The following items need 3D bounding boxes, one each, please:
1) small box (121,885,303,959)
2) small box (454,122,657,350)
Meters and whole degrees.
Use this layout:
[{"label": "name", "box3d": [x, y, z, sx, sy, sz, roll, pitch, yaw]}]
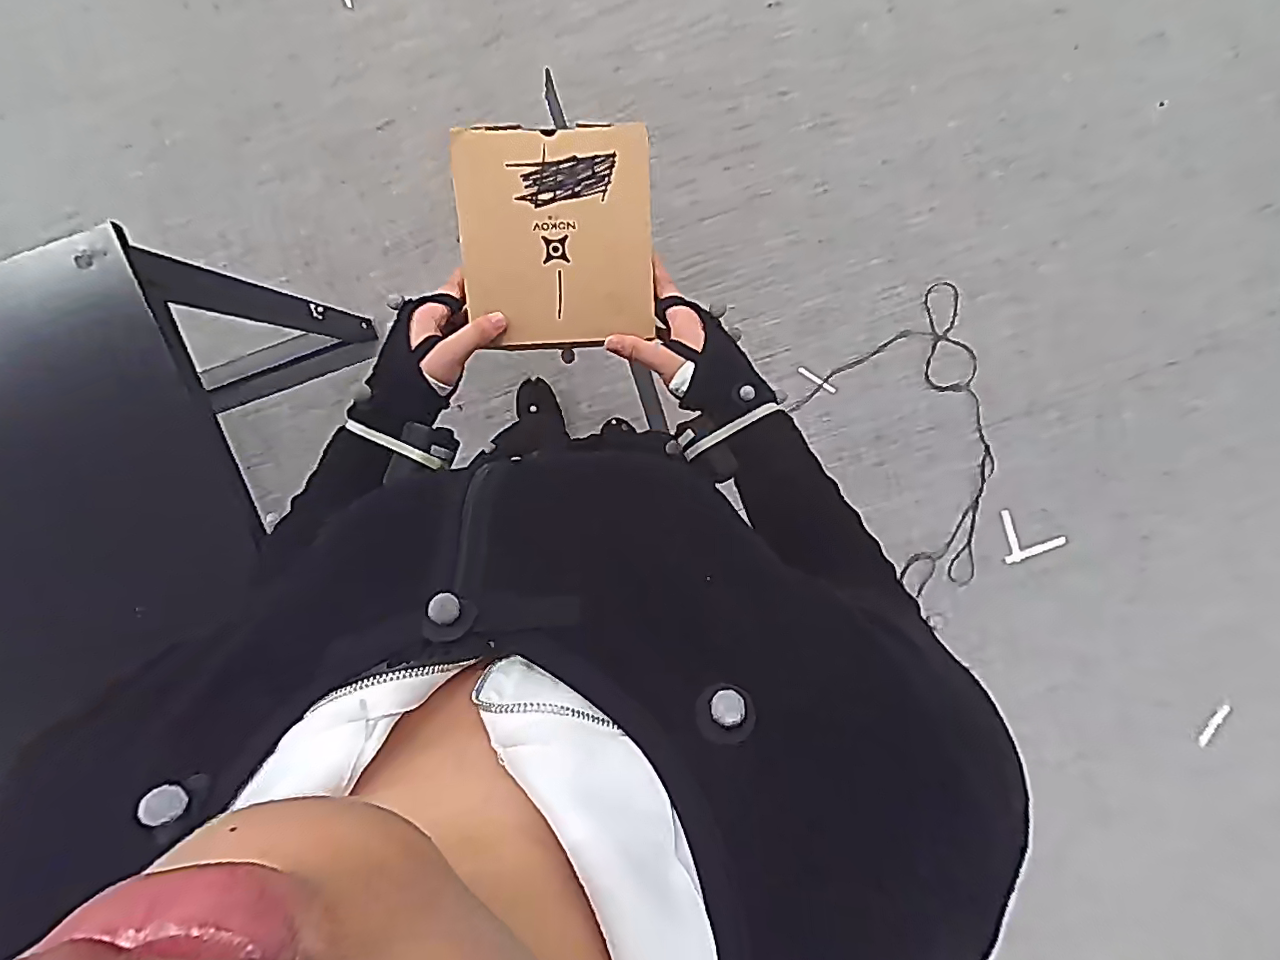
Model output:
[{"label": "small box", "box3d": [-0.626, 0.718, 0.761, 0.168, 0.176, 0.179, -20, 97, 2]}, {"label": "small box", "box3d": [-0.074, -0.225, 0.540, 0.168, 0.176, 0.179, -3, 103, -3]}]
